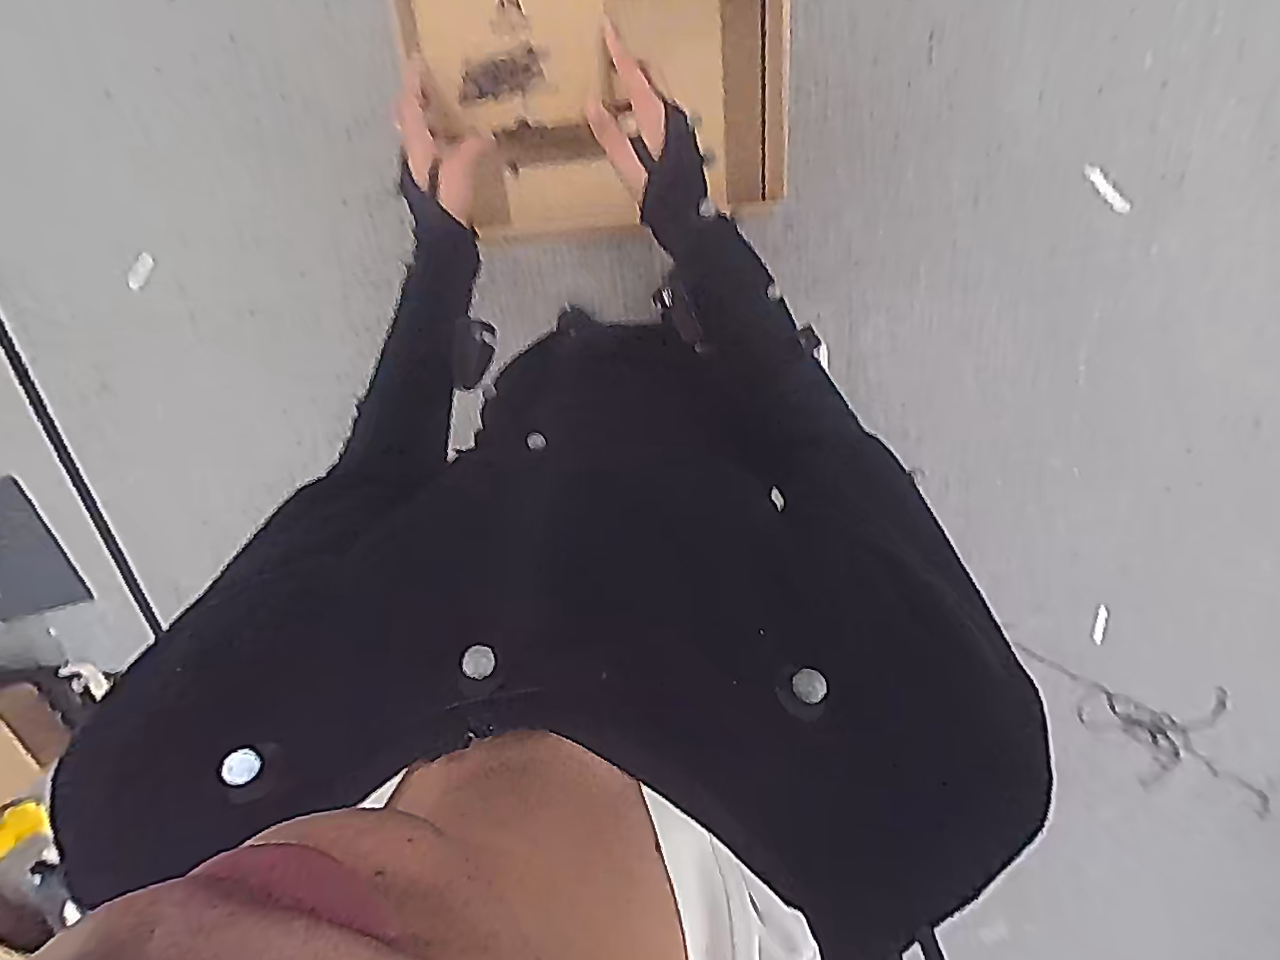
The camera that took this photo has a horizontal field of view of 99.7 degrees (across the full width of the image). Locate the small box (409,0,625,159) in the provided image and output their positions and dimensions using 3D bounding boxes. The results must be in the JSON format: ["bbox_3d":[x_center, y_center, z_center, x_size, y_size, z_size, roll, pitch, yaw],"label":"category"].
[{"bbox_3d":[-0.108,-0.429,0.530,0.168,0.176,0.179,-2,111,5],"label":"small box"}]
